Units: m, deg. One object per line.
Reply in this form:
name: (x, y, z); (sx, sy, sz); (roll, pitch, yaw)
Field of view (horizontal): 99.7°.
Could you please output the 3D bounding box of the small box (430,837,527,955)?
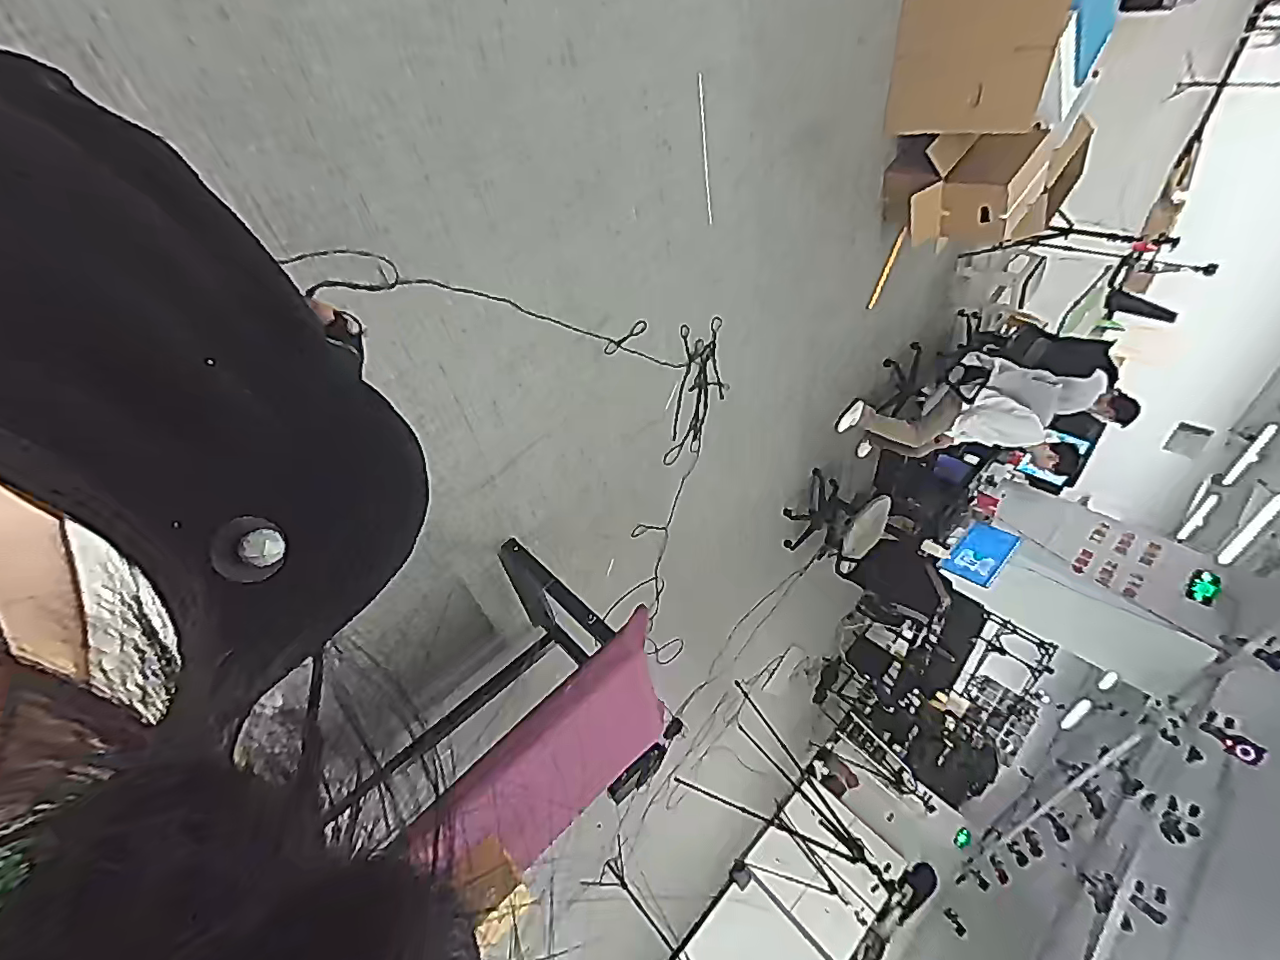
small box: (-0.441, 1.133, 1.483); (0.179, 0.176, 0.168); (-34, 137, -29)
